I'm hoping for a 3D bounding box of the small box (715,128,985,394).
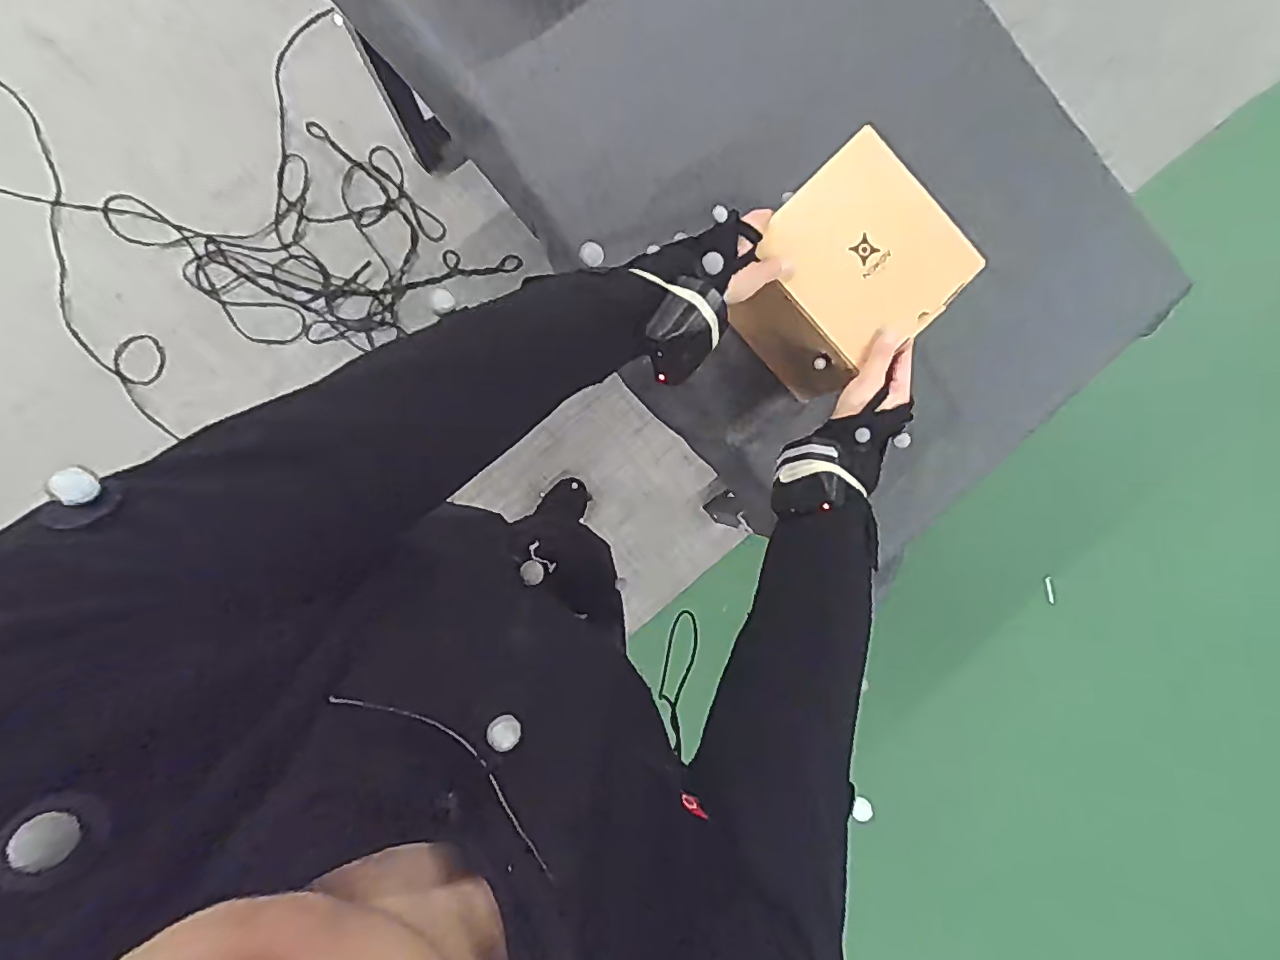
[{"bbox_3d":[0.205,-0.213,0.583,0.168,0.176,0.179,-44,95,-2],"label":"small box"}]
